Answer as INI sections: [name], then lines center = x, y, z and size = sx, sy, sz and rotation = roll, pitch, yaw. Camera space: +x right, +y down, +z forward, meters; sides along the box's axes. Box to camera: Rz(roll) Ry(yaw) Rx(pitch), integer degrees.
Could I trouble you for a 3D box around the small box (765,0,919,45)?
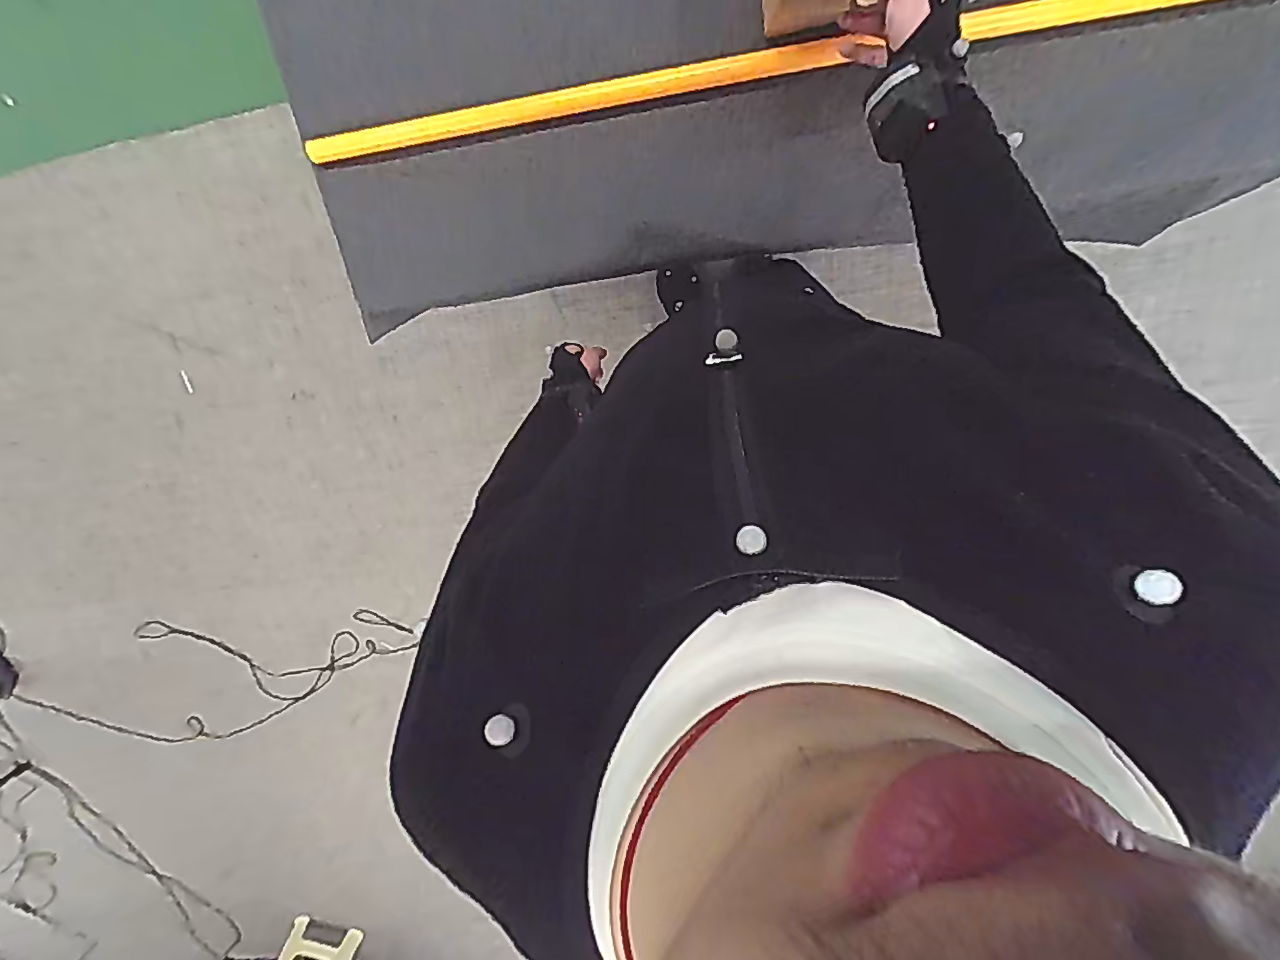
[small box]
center = 0.207, -0.564, 0.526
size = 0.168, 0.176, 0.179
rotation = -11, 111, 12
